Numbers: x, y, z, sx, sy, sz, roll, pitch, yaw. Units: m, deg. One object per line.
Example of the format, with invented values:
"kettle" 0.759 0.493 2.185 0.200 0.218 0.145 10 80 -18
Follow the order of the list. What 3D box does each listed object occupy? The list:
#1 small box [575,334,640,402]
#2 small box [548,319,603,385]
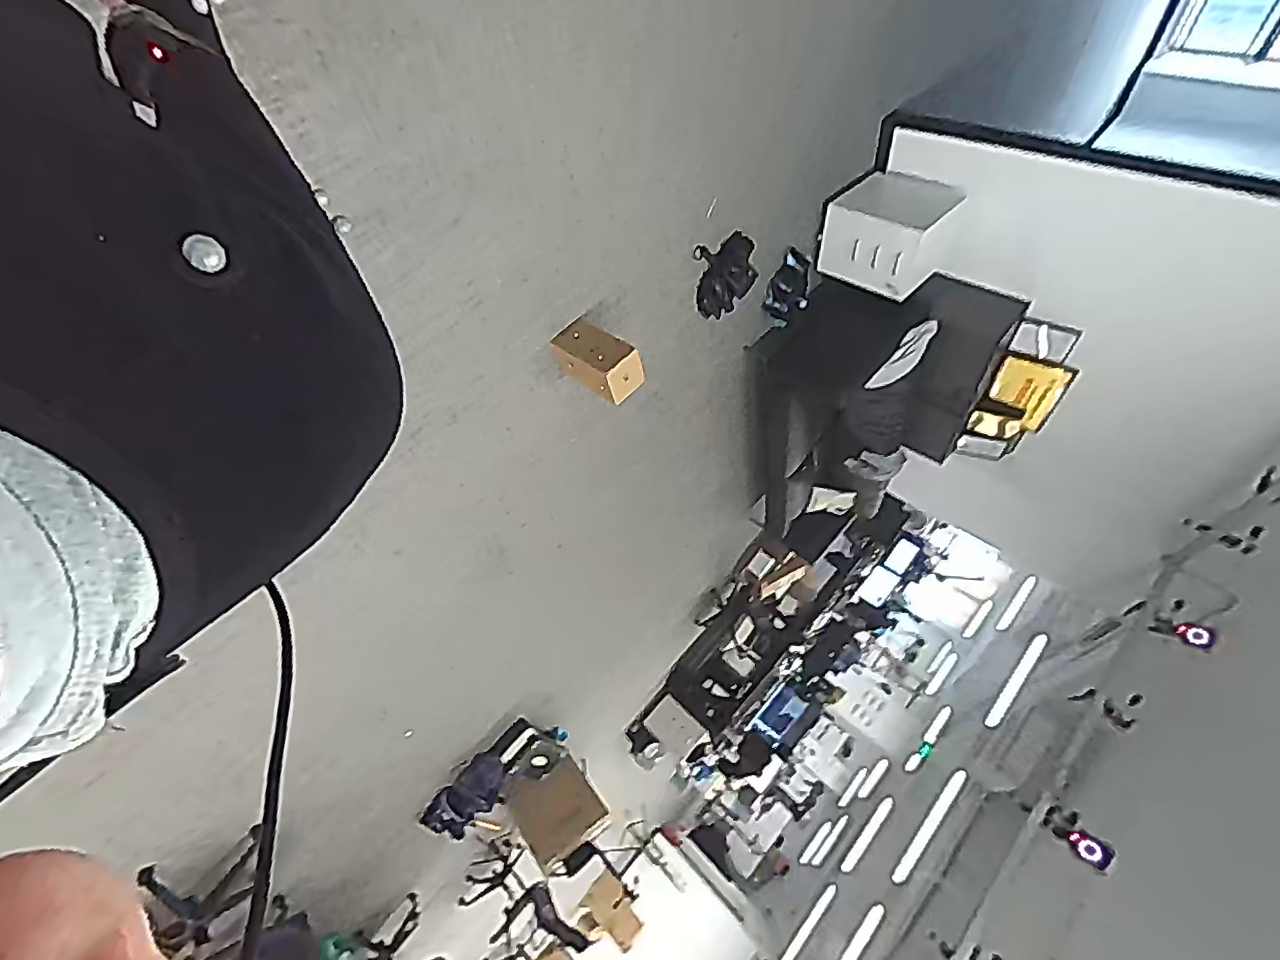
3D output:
"small box" -0.127 -0.439 2.088 0.168 0.176 0.179 -44 151 -16
"small box" -0.242 -0.522 2.168 0.168 0.176 0.179 -46 150 -16
